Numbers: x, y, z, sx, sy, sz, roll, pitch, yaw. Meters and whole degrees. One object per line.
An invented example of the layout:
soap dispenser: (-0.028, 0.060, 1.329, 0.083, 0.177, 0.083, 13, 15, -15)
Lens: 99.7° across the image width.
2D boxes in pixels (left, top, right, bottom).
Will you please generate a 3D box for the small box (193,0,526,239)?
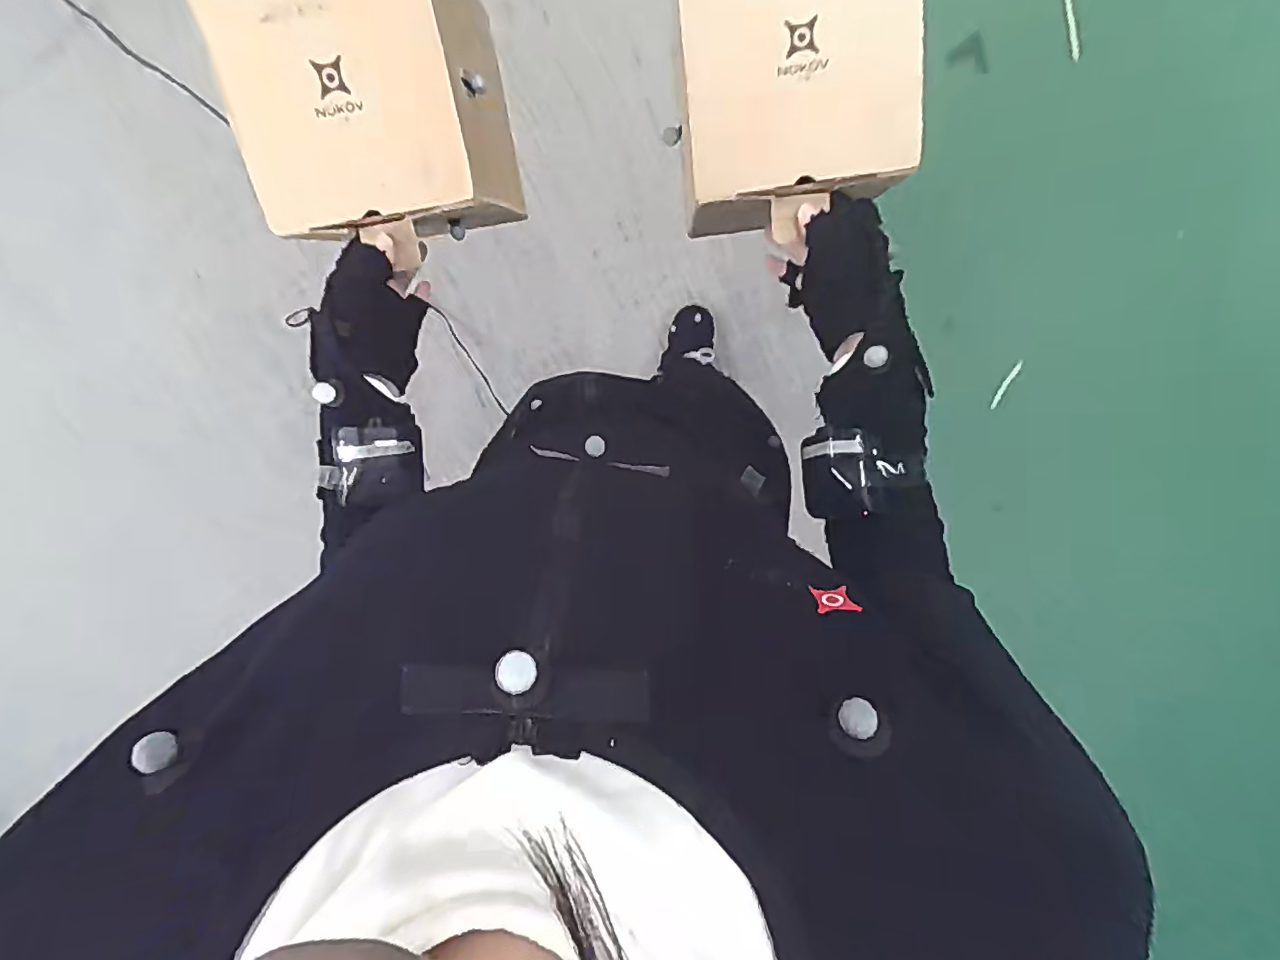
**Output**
small box: (-0.208, -0.309, 0.453, 0.168, 0.176, 0.179, -9, 110, 5)
